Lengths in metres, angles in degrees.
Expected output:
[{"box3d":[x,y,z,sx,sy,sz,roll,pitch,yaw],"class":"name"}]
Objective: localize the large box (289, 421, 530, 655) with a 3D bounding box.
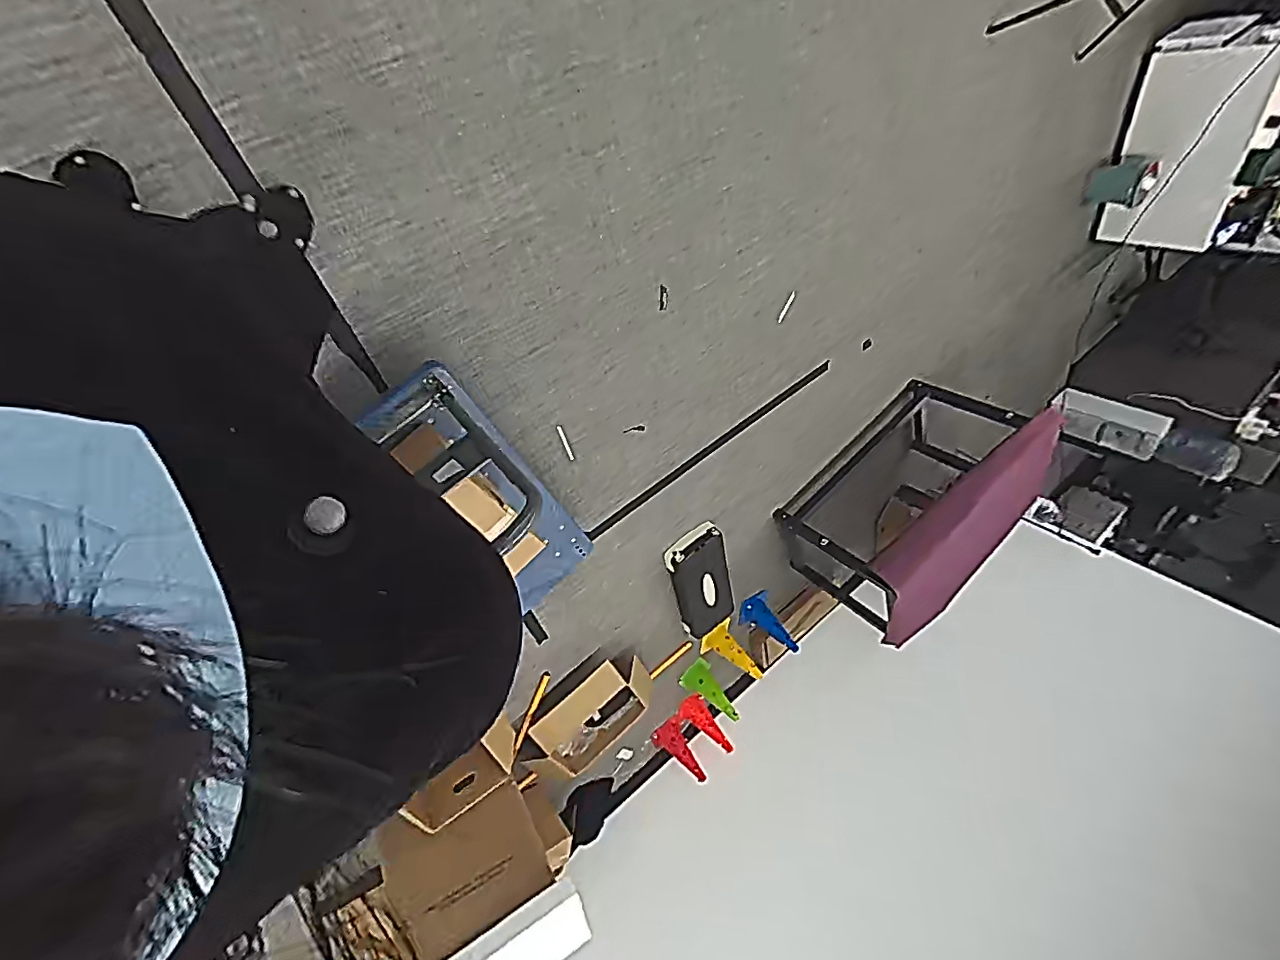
[{"box3d":[-0.556,0.134,1.319,0.408,0.320,0.320,-44,136,-7],"class":"large box"}]
